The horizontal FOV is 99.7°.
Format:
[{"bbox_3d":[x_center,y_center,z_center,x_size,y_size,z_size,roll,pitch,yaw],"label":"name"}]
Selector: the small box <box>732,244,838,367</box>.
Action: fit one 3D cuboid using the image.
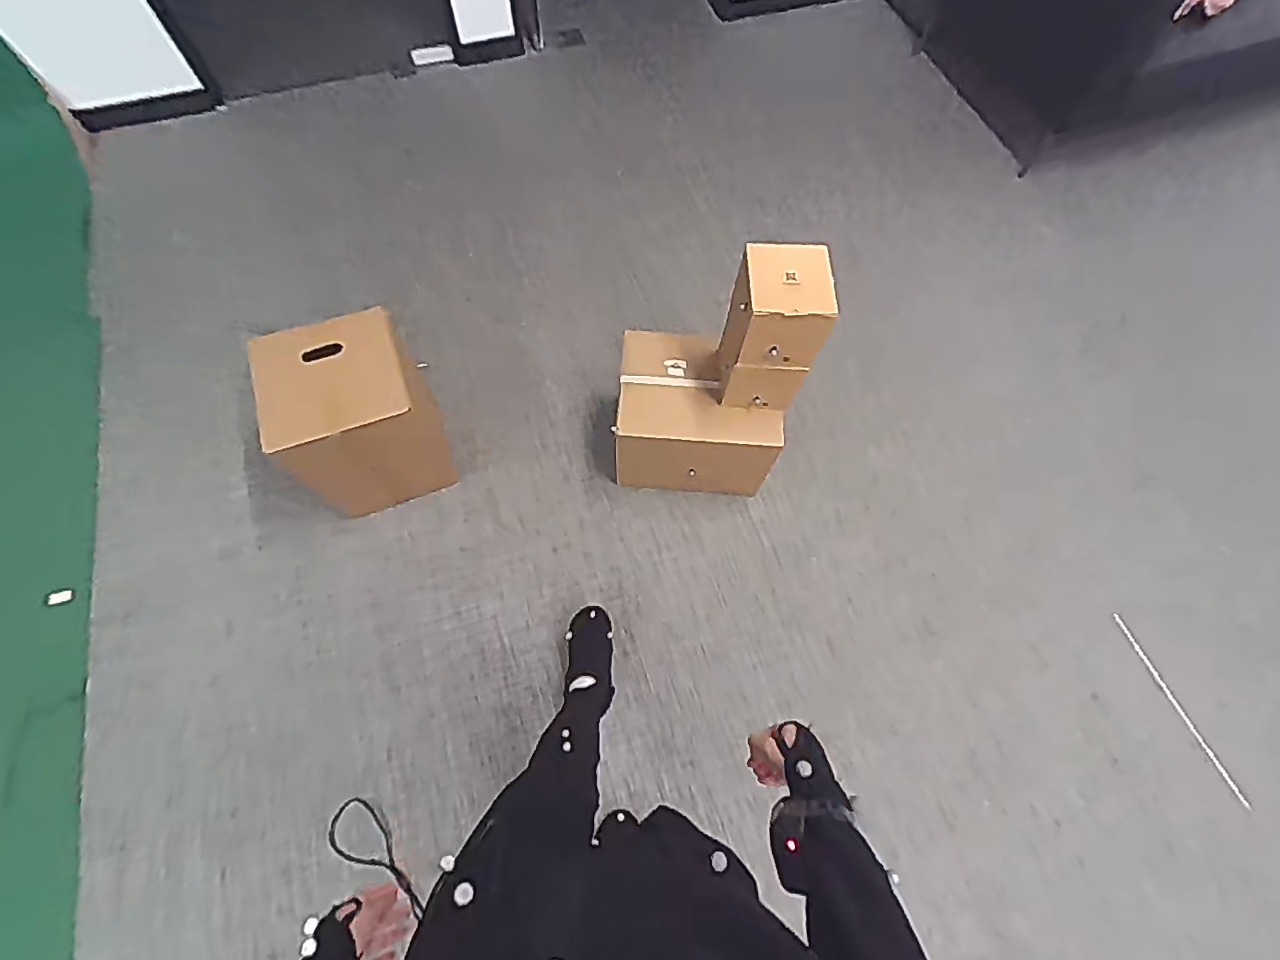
[{"bbox_3d":[0.288,-0.356,1.116,0.168,0.176,0.179,1,67,-2],"label":"small box"}]
